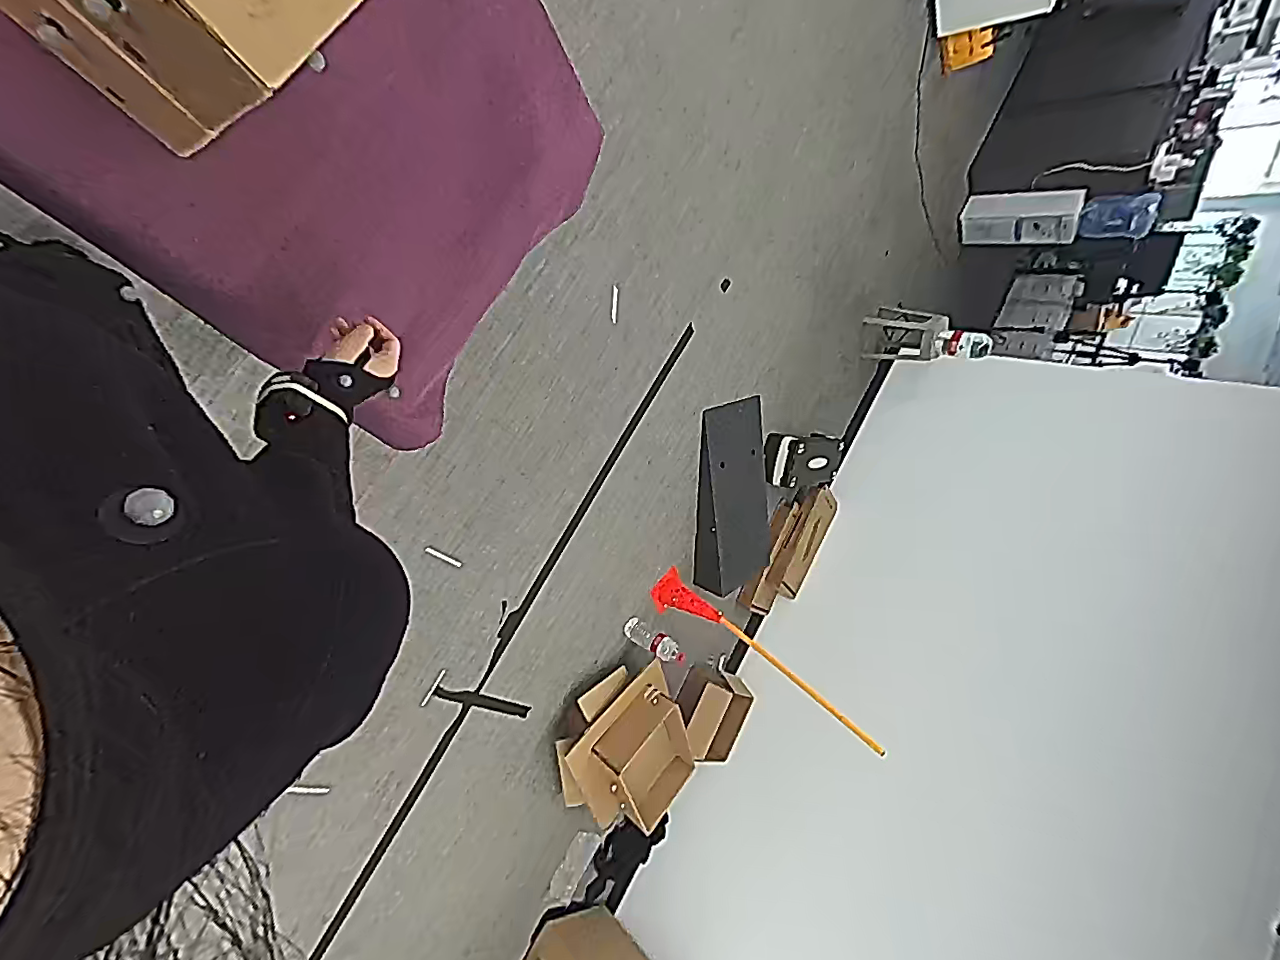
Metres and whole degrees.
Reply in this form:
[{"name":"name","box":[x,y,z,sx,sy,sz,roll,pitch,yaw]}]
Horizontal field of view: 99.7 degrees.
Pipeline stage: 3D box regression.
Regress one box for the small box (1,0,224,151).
[{"name":"small box","box":[-0.418,-0.425,0.474,0.179,0.176,0.168,-60,139,-13]}]

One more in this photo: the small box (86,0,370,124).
[{"name":"small box","box":[-0.297,-0.384,0.371,0.179,0.176,0.168,-59,139,-13]}]
